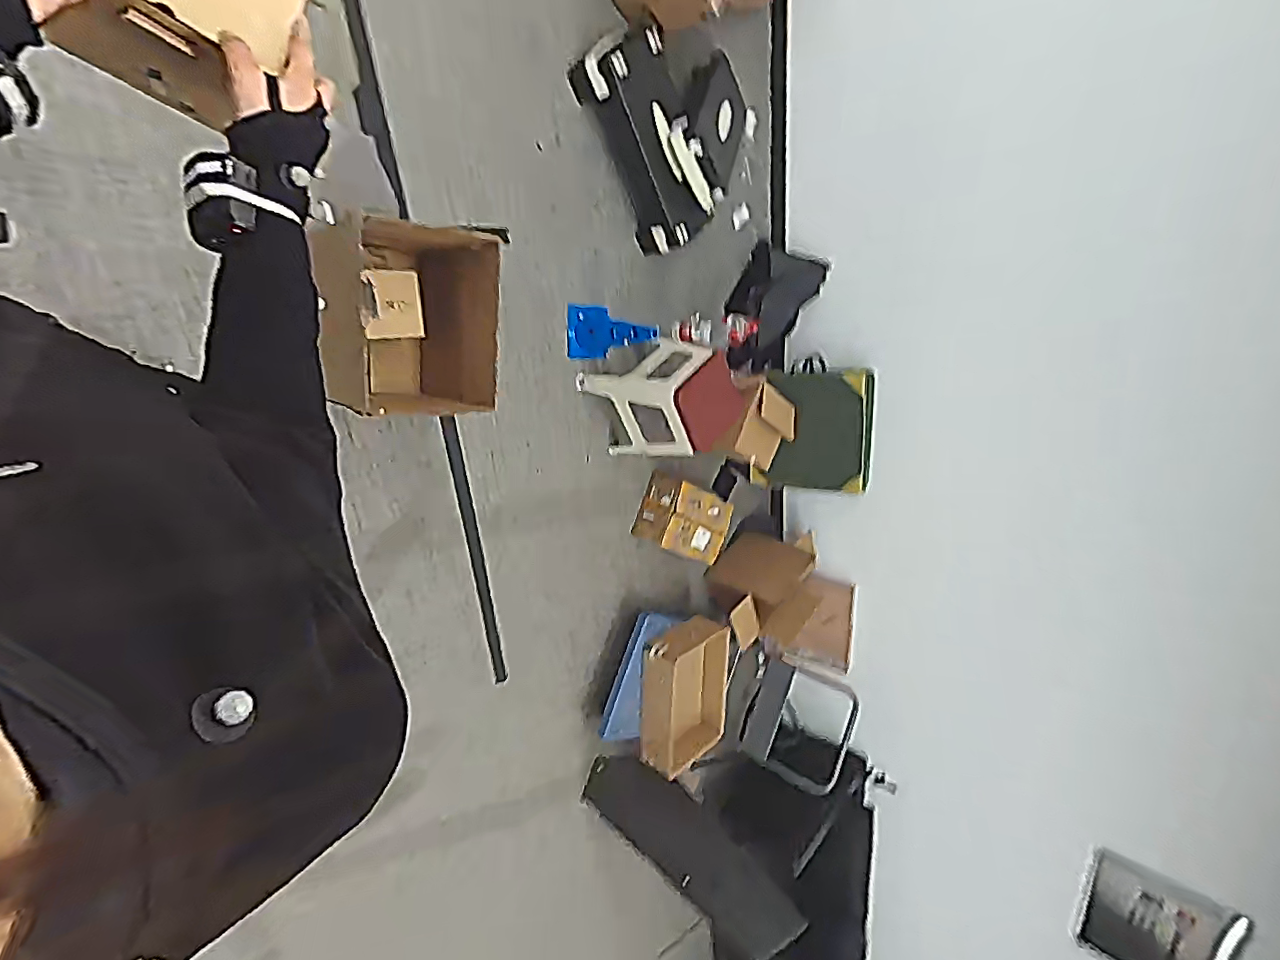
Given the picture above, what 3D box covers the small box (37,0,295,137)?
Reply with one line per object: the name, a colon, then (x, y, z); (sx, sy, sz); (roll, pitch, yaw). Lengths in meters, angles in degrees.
small box: (-0.432, -0.474, 0.506); (0.168, 0.176, 0.179); (17, 84, -42)
